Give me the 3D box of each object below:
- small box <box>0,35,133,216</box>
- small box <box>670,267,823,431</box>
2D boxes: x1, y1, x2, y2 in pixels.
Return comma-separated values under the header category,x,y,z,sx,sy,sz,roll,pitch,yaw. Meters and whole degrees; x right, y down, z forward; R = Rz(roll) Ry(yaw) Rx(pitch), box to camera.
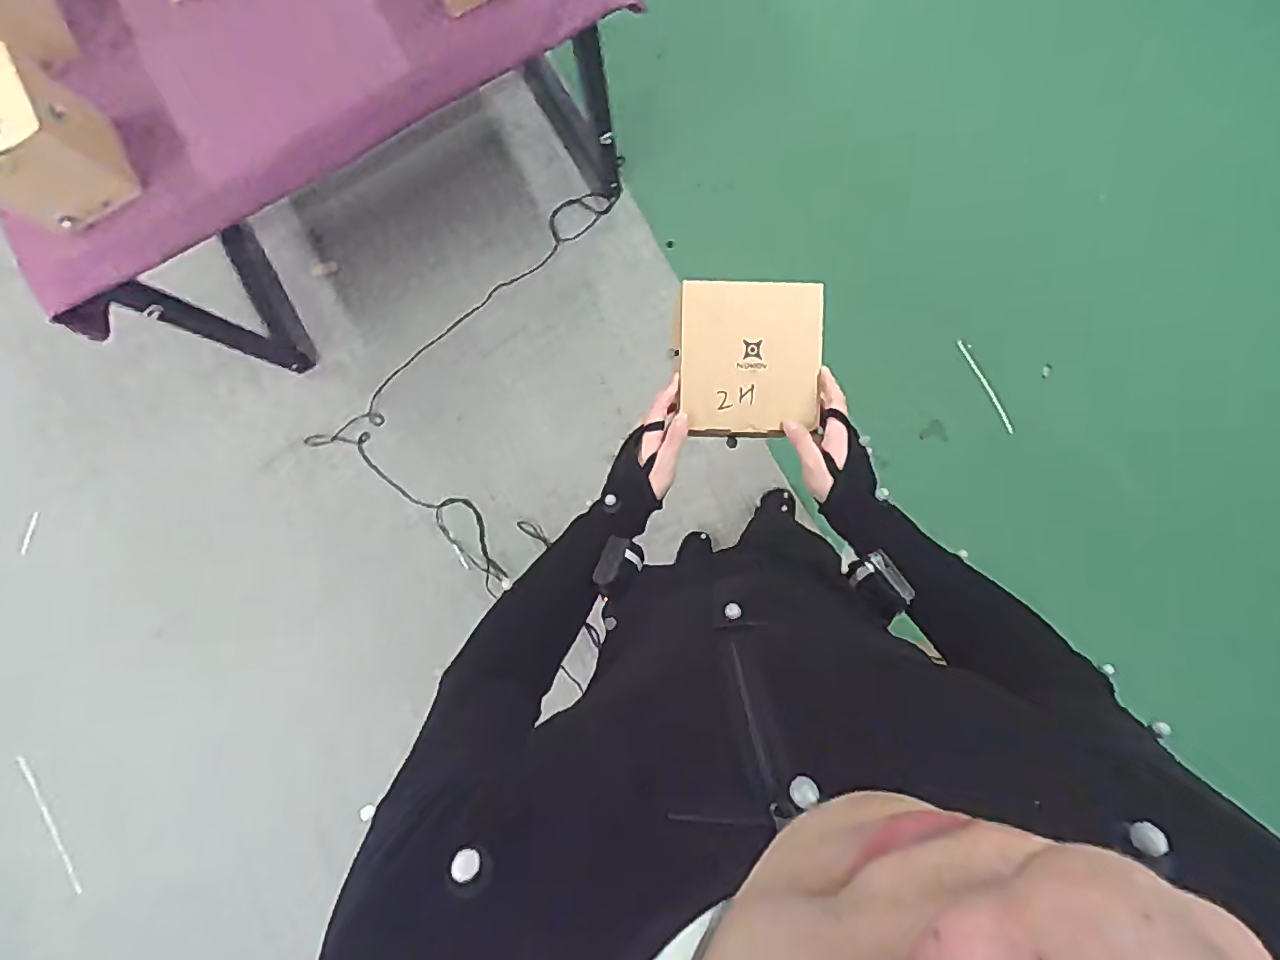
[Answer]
category,x,y,z,sx,sy,sz,roll,pitch,yaw
small box,-1.021,-0.579,0.907,0.168,0.176,0.179,-28,85,0
small box,0.126,-0.157,0.699,0.168,0.176,0.179,1,92,0
